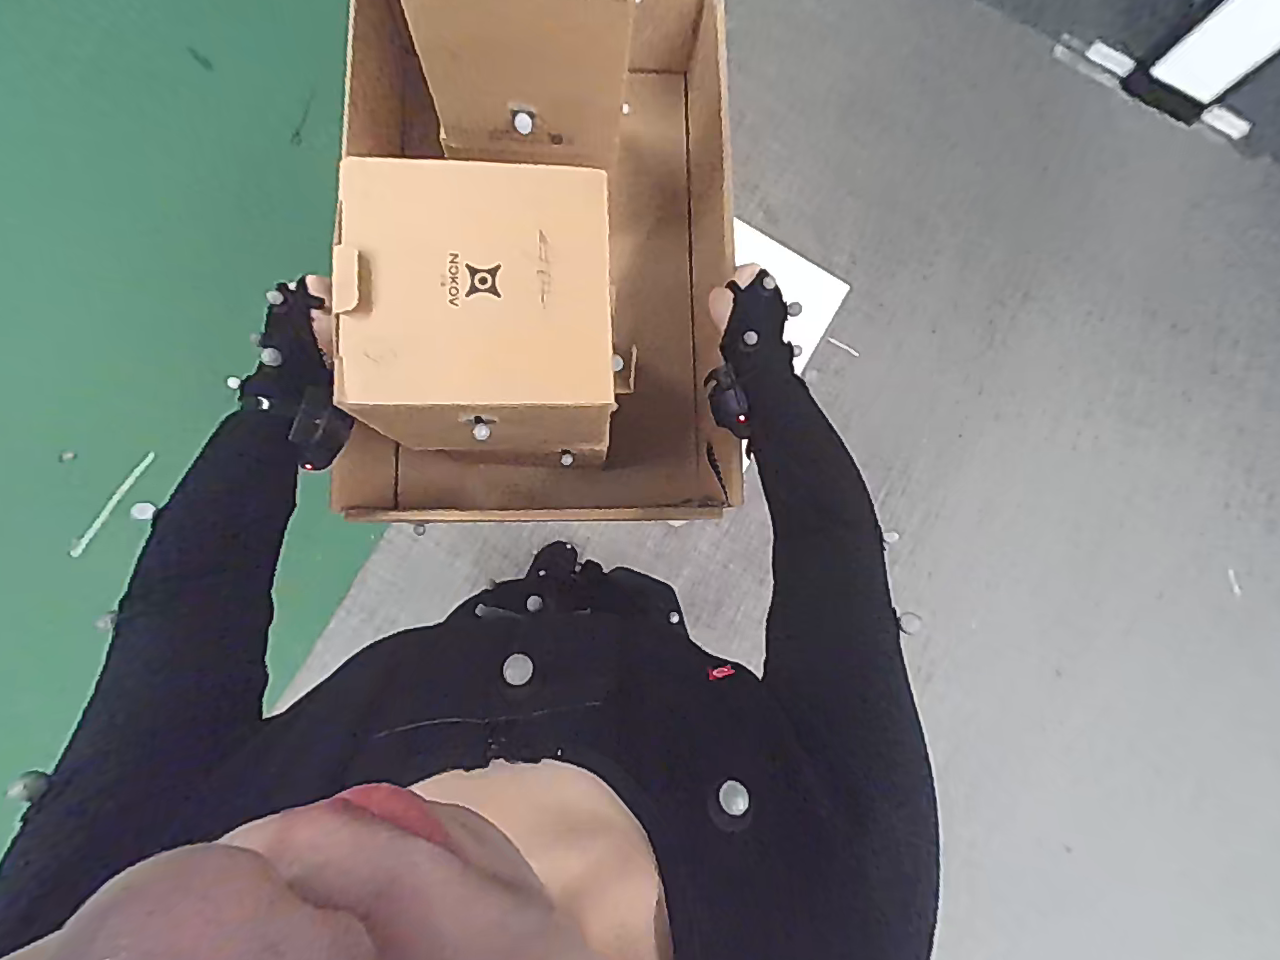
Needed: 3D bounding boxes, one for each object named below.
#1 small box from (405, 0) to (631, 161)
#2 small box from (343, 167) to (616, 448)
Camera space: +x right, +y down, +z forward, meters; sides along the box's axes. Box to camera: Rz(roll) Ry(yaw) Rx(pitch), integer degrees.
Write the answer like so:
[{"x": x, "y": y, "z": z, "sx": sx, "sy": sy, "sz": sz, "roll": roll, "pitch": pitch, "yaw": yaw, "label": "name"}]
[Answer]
[{"x": -0.099, "y": -0.413, "z": 0.460, "sx": 0.168, "sy": 0.176, "sz": 0.179, "roll": -1, "pitch": 87, "yaw": -7, "label": "small box"}, {"x": -0.115, "y": -0.119, "z": 0.437, "sx": 0.179, "sy": 0.176, "sz": 0.168, "roll": -2, "pitch": 86, "yaw": -8, "label": "small box"}]
